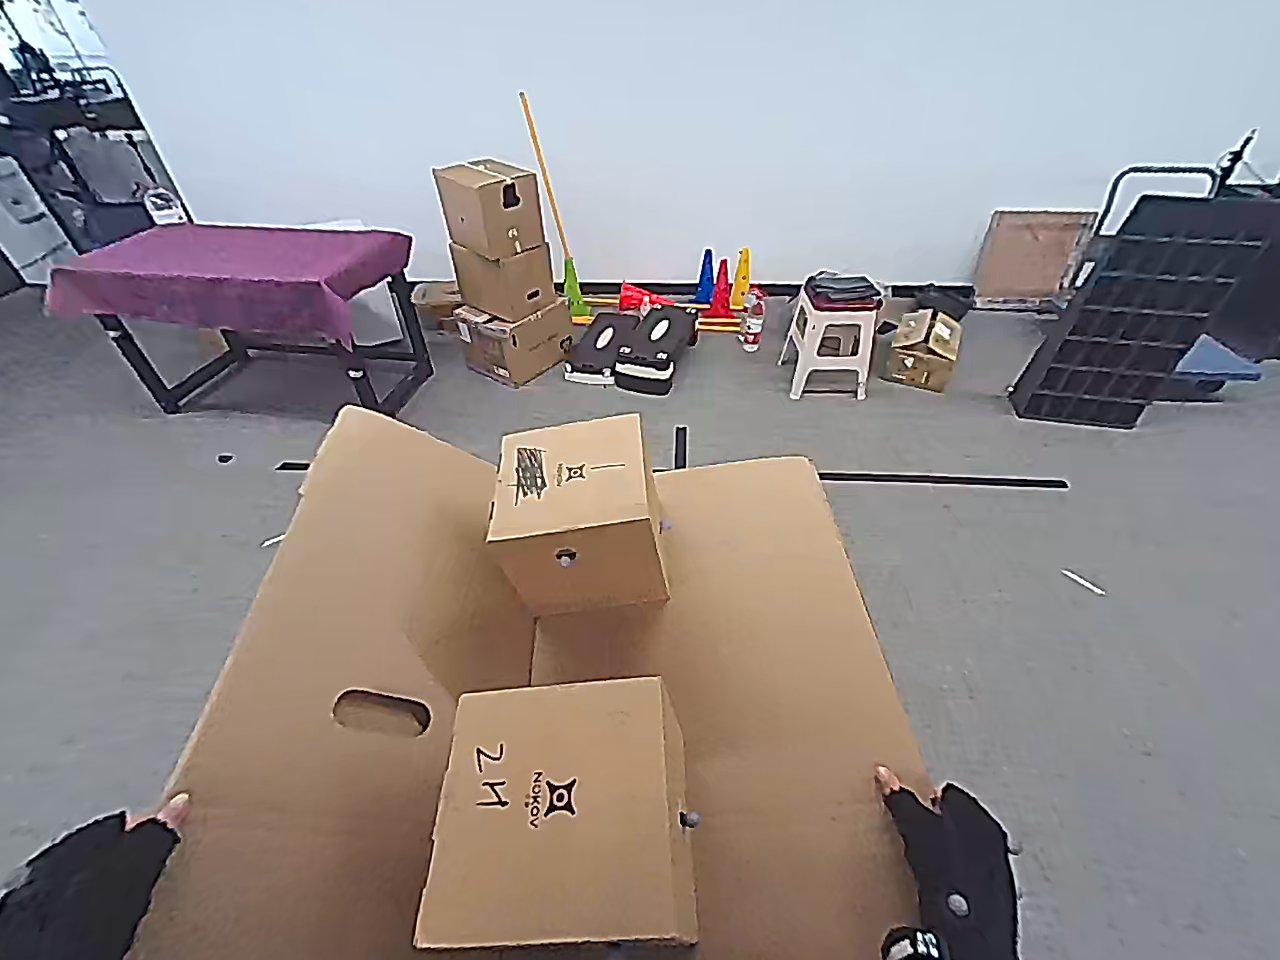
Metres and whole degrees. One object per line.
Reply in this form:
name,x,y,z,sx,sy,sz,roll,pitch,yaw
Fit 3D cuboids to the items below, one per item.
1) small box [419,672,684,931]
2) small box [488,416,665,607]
small box,-0.055,0.283,0.472,0.179,0.176,0.168,-7,48,7
small box,-0.070,0.045,0.686,0.179,0.176,0.168,-8,48,4
